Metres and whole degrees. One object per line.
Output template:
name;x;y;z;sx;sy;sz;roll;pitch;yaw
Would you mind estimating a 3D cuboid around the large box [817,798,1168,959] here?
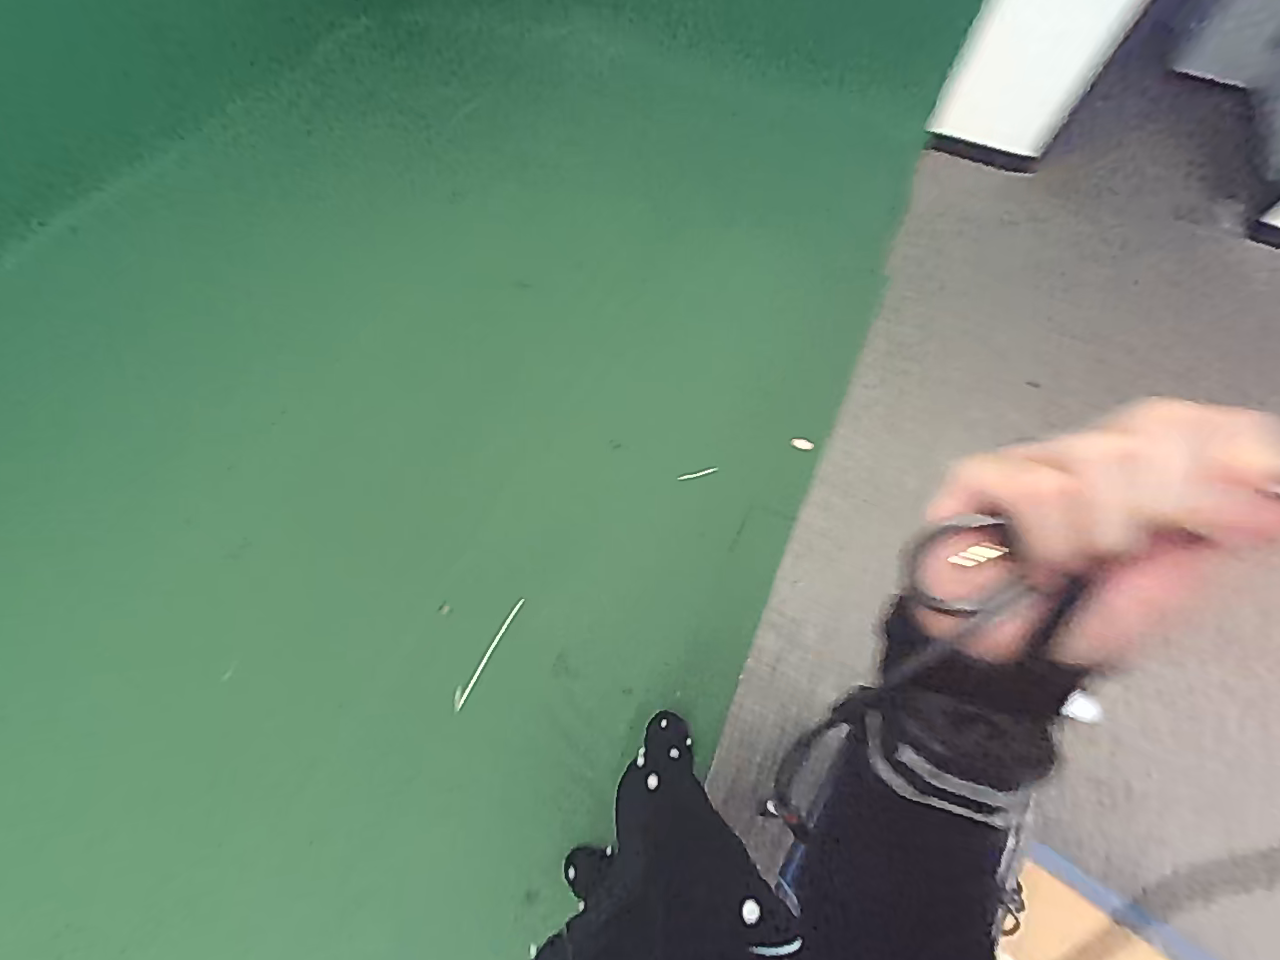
large box;0.606;0.854;0.982;0.408;0.320;0.320;33;67;13
